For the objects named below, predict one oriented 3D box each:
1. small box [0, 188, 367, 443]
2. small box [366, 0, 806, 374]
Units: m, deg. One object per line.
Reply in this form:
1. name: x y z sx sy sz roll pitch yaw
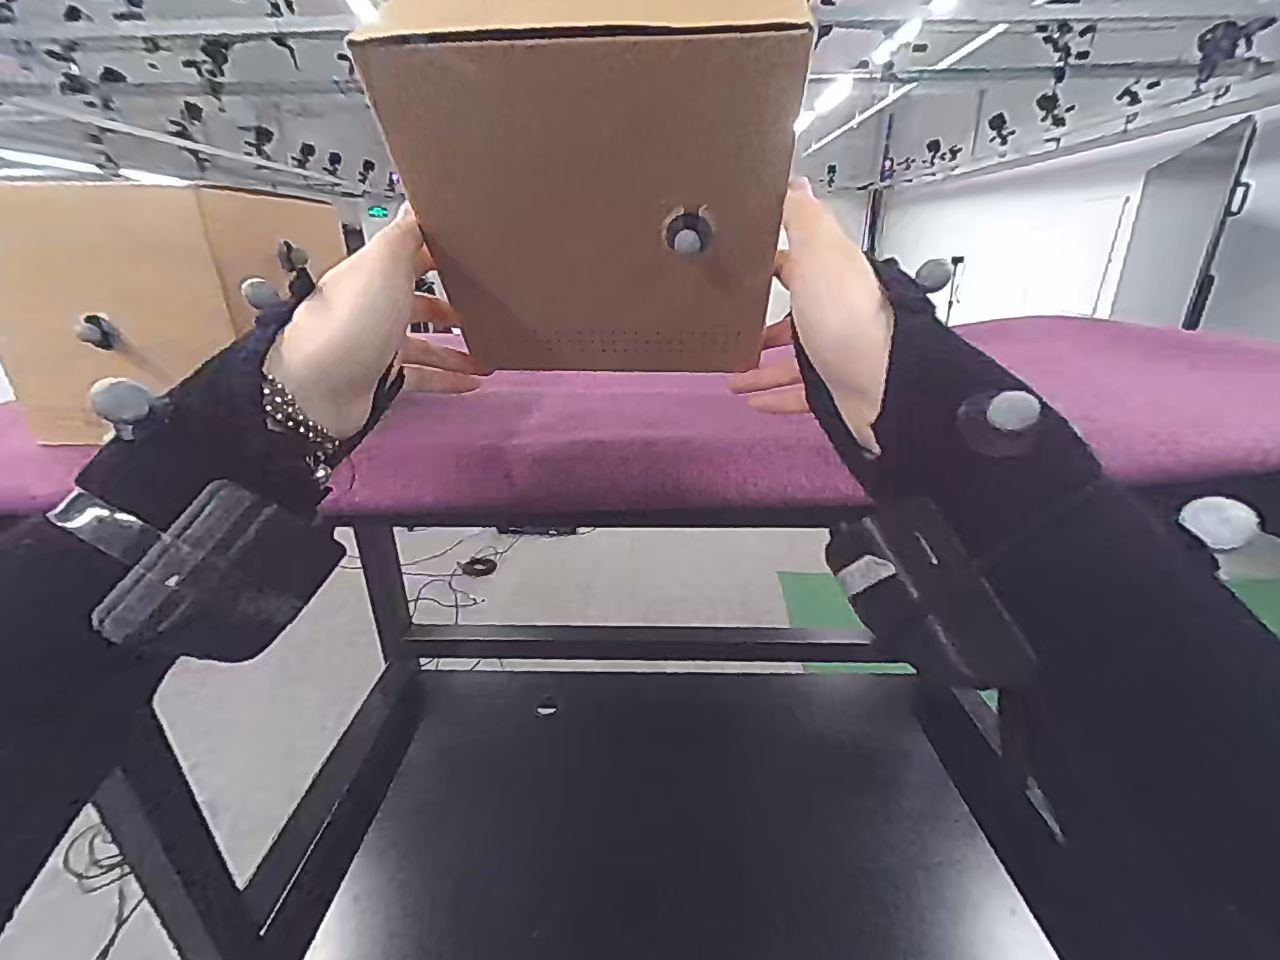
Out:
1. small box: -0.347 -0.132 0.438 0.168 0.176 0.179 0 22 -1
2. small box: -0.015 -0.177 0.320 0.179 0.176 0.168 1 53 4
